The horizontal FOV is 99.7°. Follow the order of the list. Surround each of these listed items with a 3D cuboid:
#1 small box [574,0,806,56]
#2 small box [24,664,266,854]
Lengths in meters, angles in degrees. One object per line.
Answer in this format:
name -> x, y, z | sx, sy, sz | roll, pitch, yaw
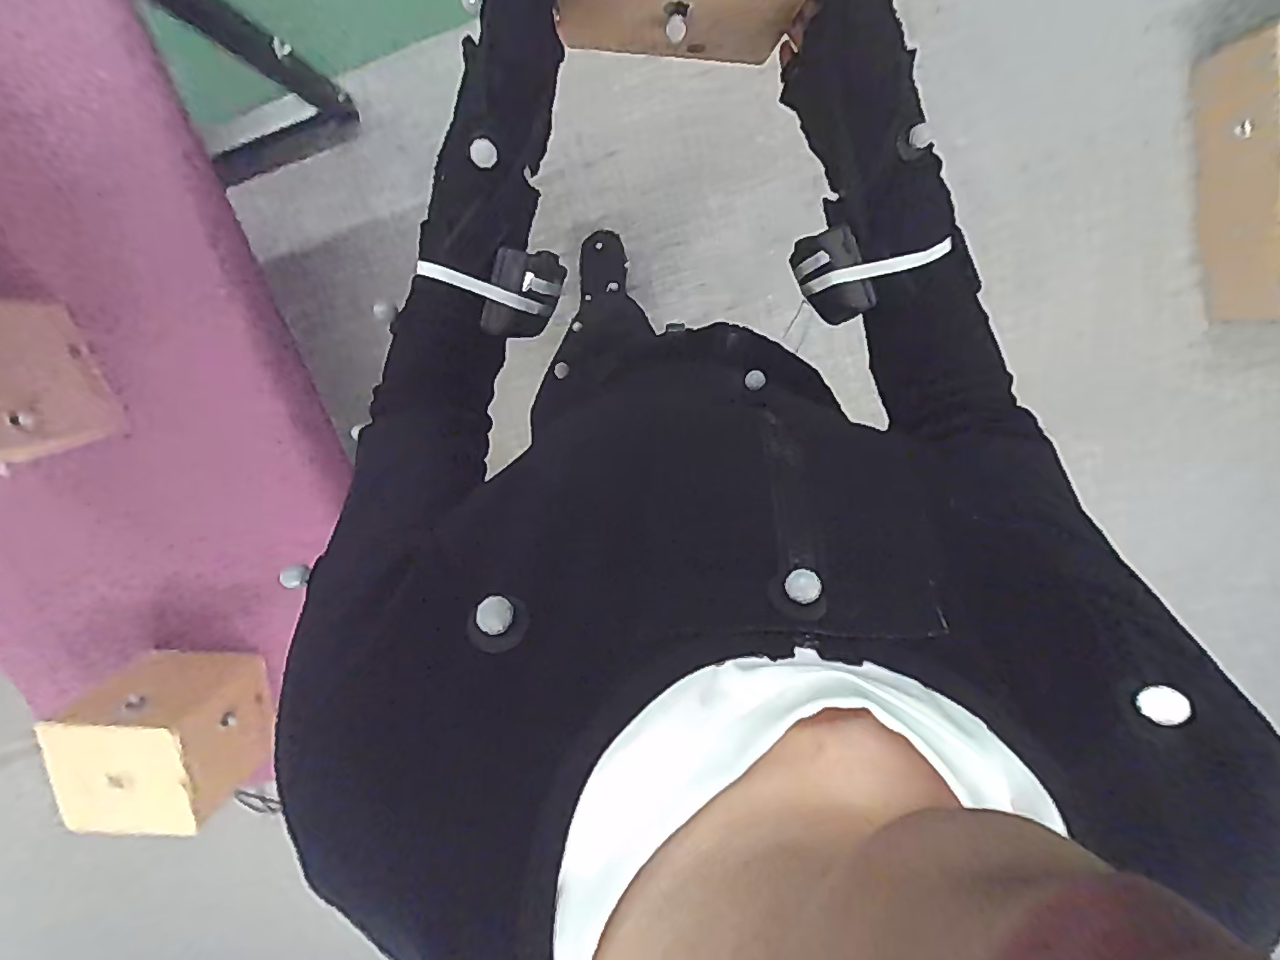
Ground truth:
small box -> 0.036, -0.397, 0.334 | 0.168, 0.176, 0.179 | 0, 109, -2
small box -> -0.653, 0.373, 0.745 | 0.179, 0.176, 0.168 | 2, 105, 0
